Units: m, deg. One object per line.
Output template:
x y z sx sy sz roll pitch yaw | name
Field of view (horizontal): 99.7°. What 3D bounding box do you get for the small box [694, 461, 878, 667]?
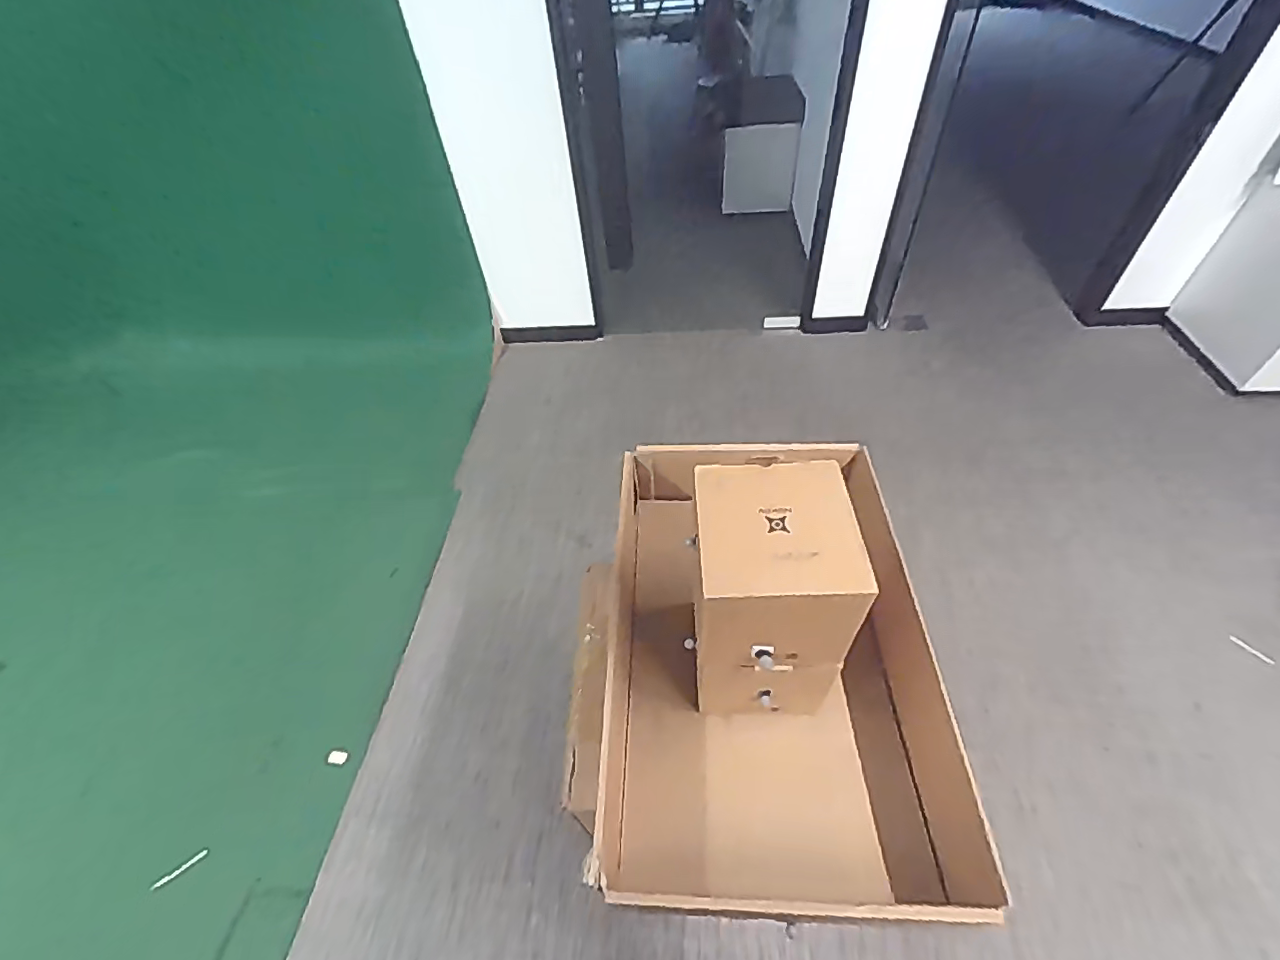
0.149 0.098 0.625 0.168 0.176 0.179 -3 49 4 | small box
